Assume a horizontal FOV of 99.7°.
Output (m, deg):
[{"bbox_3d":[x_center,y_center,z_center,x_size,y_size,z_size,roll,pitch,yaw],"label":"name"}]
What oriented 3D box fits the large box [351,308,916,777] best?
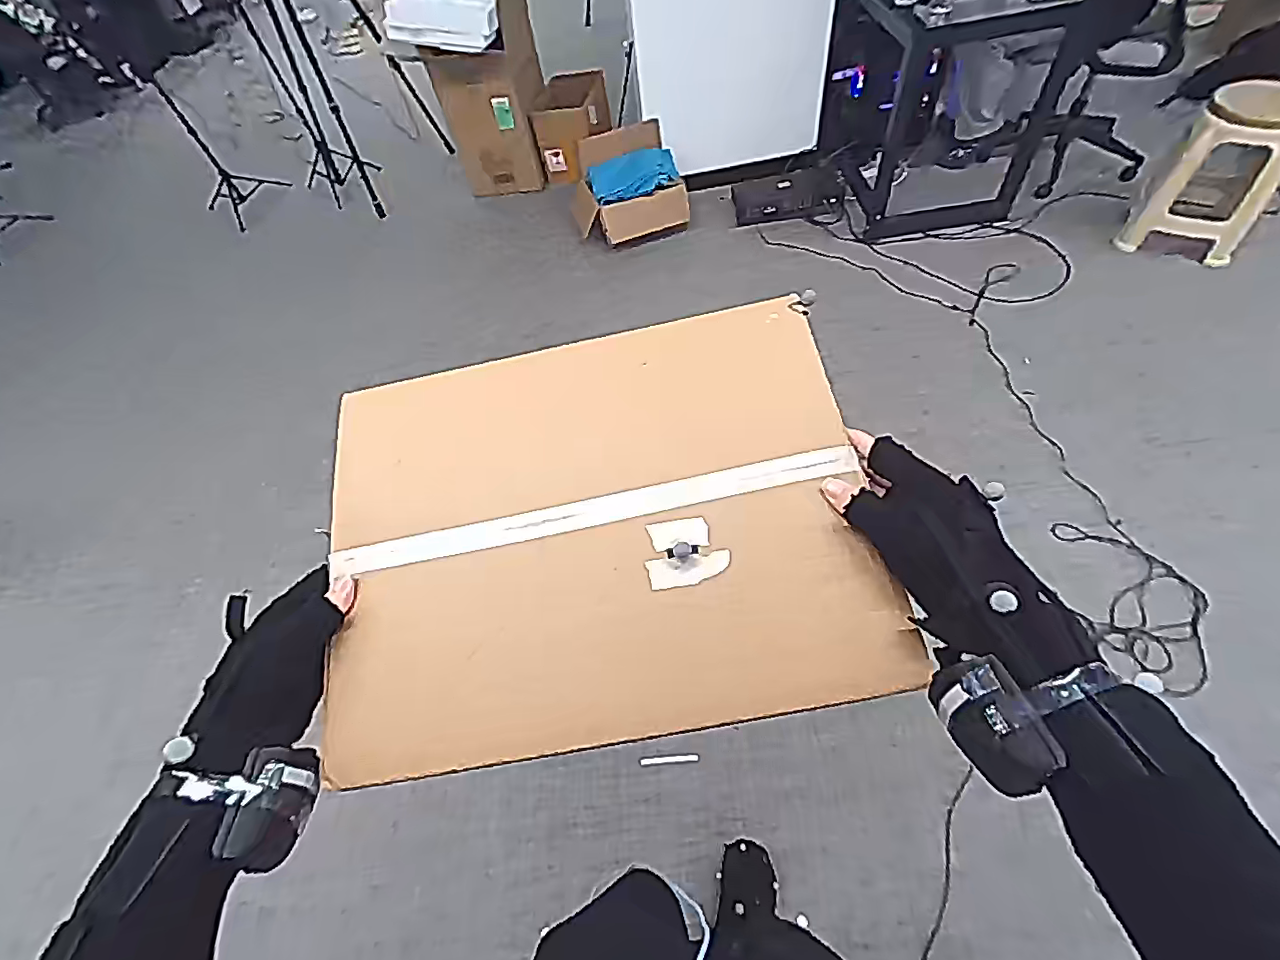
[{"bbox_3d":[-0.016,0.084,0.561,0.408,0.320,0.320,-12,68,3],"label":"large box"}]
